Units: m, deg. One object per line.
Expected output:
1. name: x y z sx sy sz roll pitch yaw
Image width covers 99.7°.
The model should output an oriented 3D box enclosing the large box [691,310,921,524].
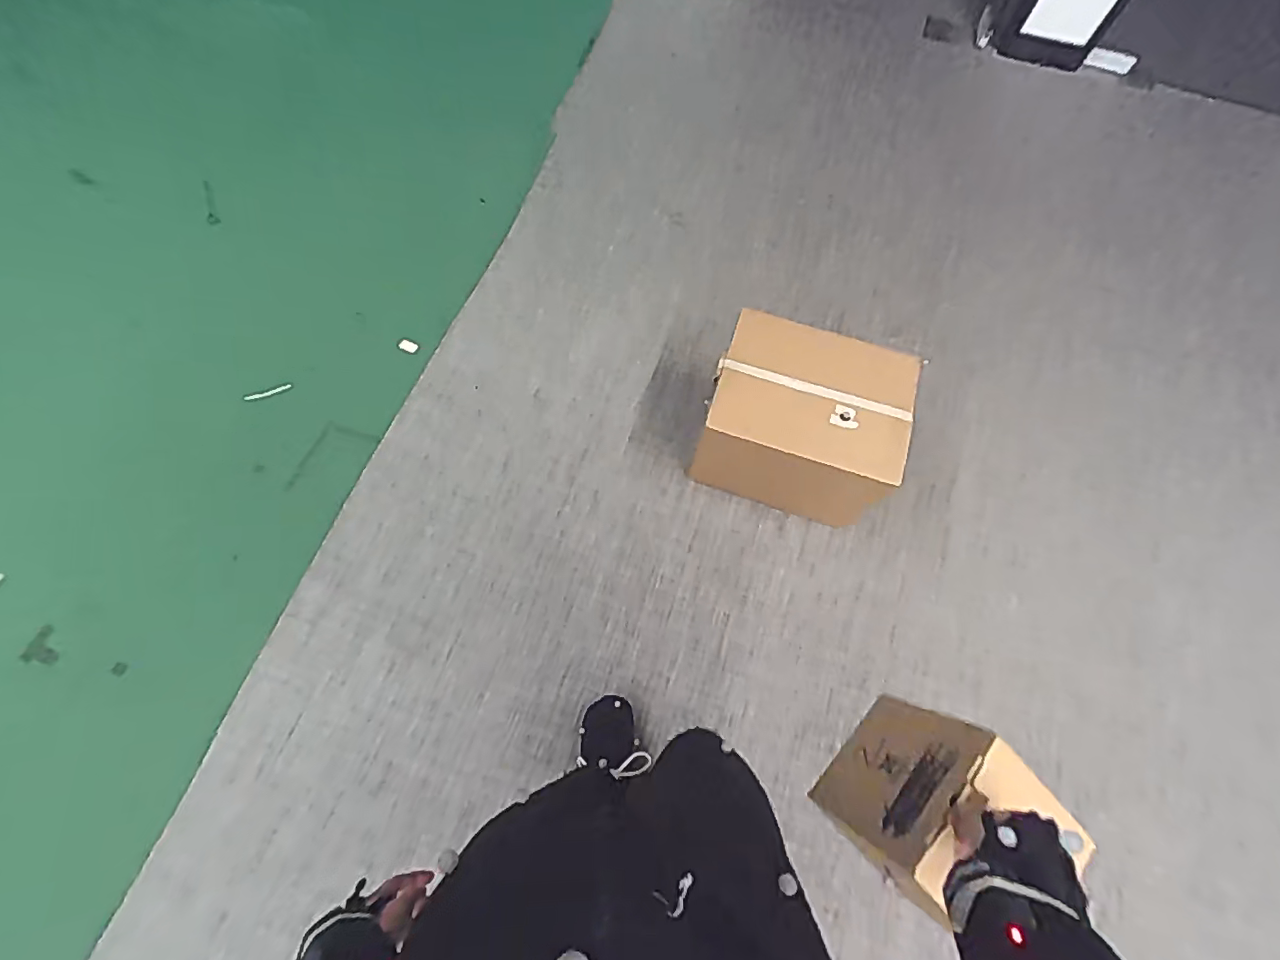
1. large box: 0.363 -0.131 1.261 0.408 0.320 0.320 18 71 4
